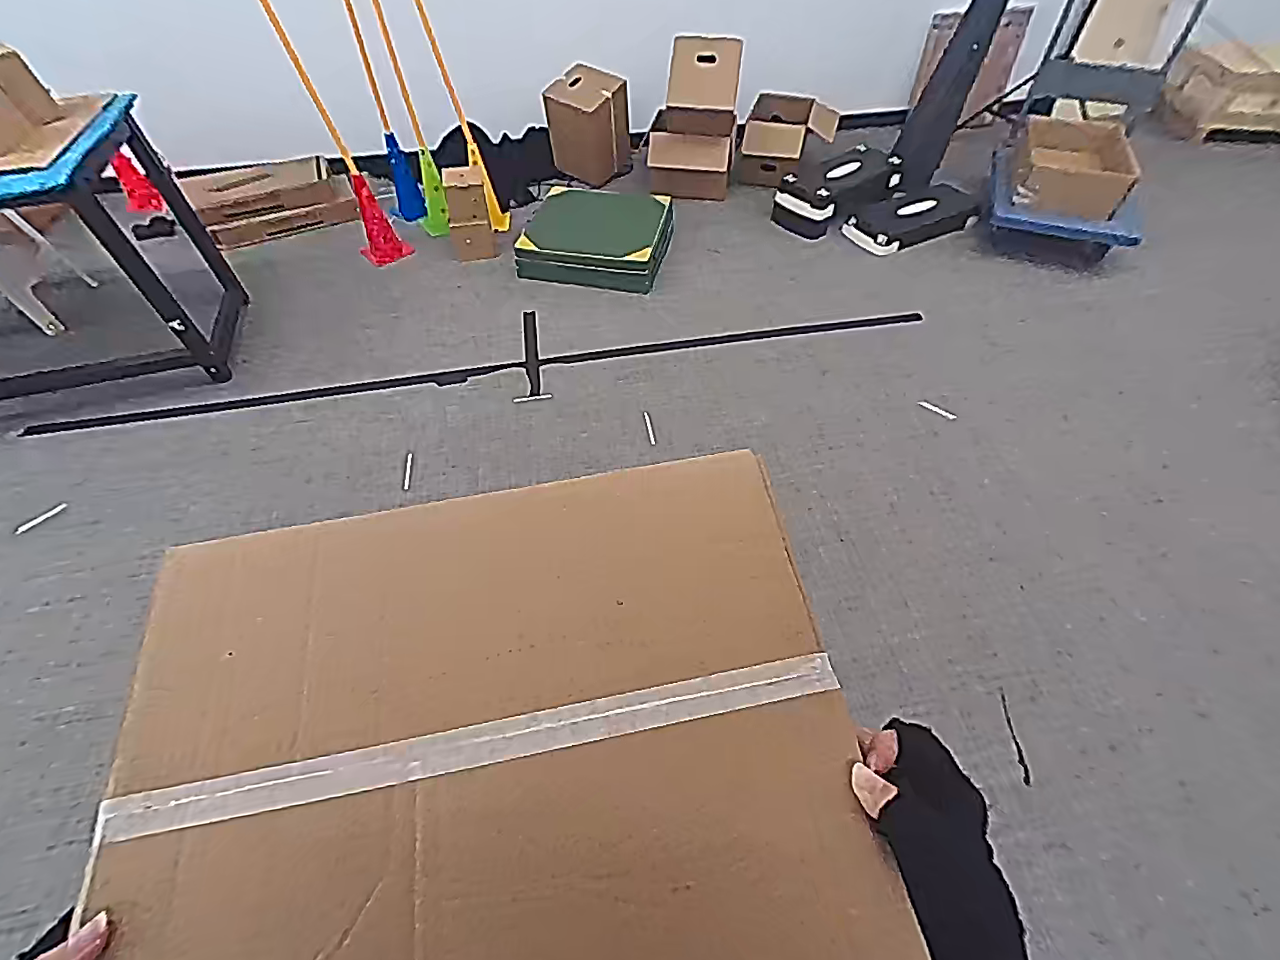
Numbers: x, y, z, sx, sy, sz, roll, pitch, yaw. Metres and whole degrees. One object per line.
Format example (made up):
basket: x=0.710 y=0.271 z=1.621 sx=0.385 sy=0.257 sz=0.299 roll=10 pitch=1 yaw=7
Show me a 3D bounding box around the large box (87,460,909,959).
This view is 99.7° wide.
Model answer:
large box: x=-0.085 y=0.221 z=0.444 sx=0.408 sy=0.320 sz=0.320 roll=-10 pitch=62 yaw=-4
